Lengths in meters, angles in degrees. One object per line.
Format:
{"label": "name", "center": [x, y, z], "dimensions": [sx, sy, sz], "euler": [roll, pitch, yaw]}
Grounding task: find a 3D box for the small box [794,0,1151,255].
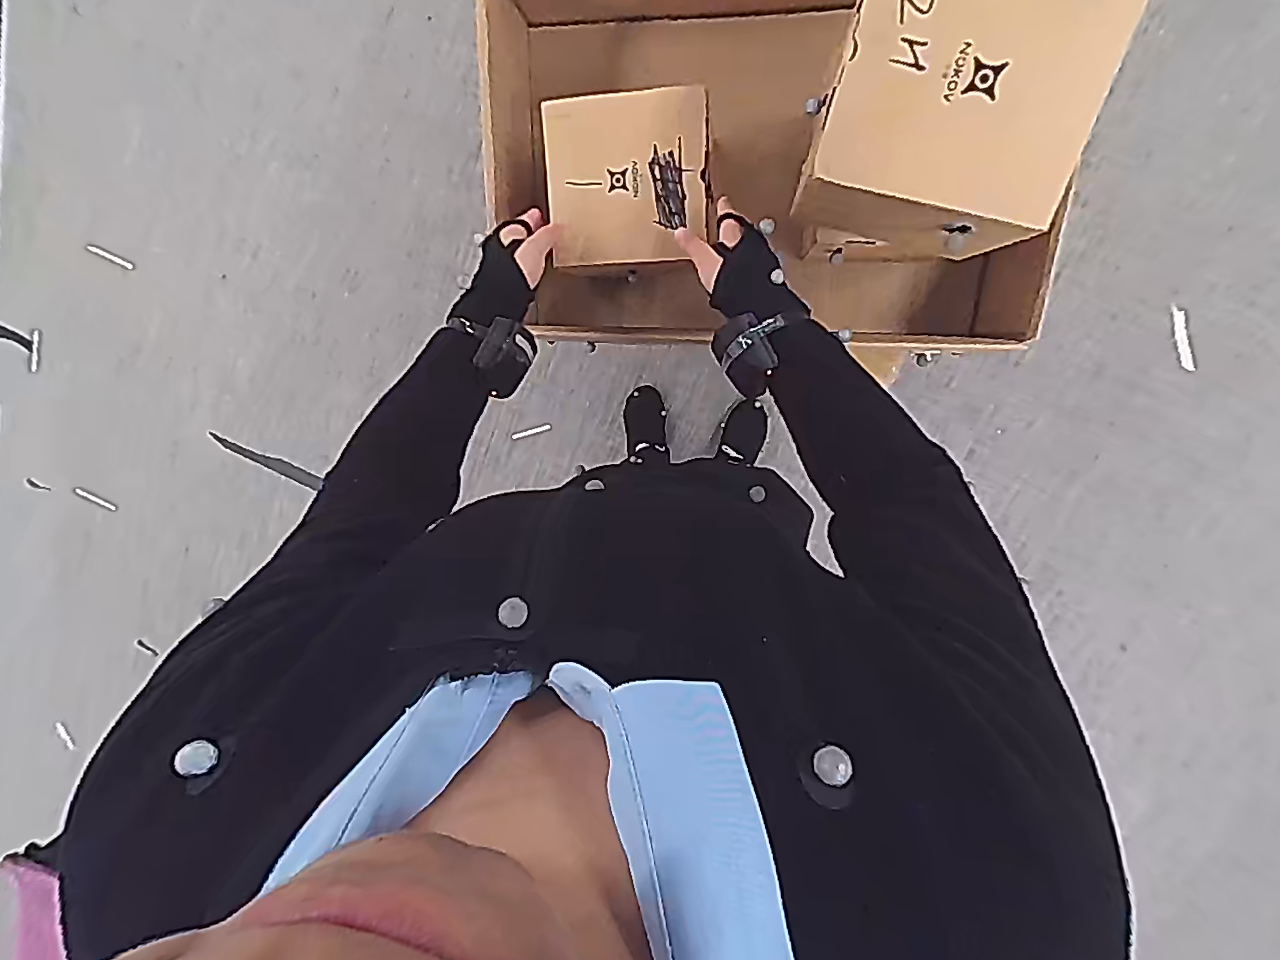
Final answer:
{"label": "small box", "center": [0.242, -0.296, 0.448], "dimensions": [0.179, 0.176, 0.168], "euler": [17, 107, 6]}
